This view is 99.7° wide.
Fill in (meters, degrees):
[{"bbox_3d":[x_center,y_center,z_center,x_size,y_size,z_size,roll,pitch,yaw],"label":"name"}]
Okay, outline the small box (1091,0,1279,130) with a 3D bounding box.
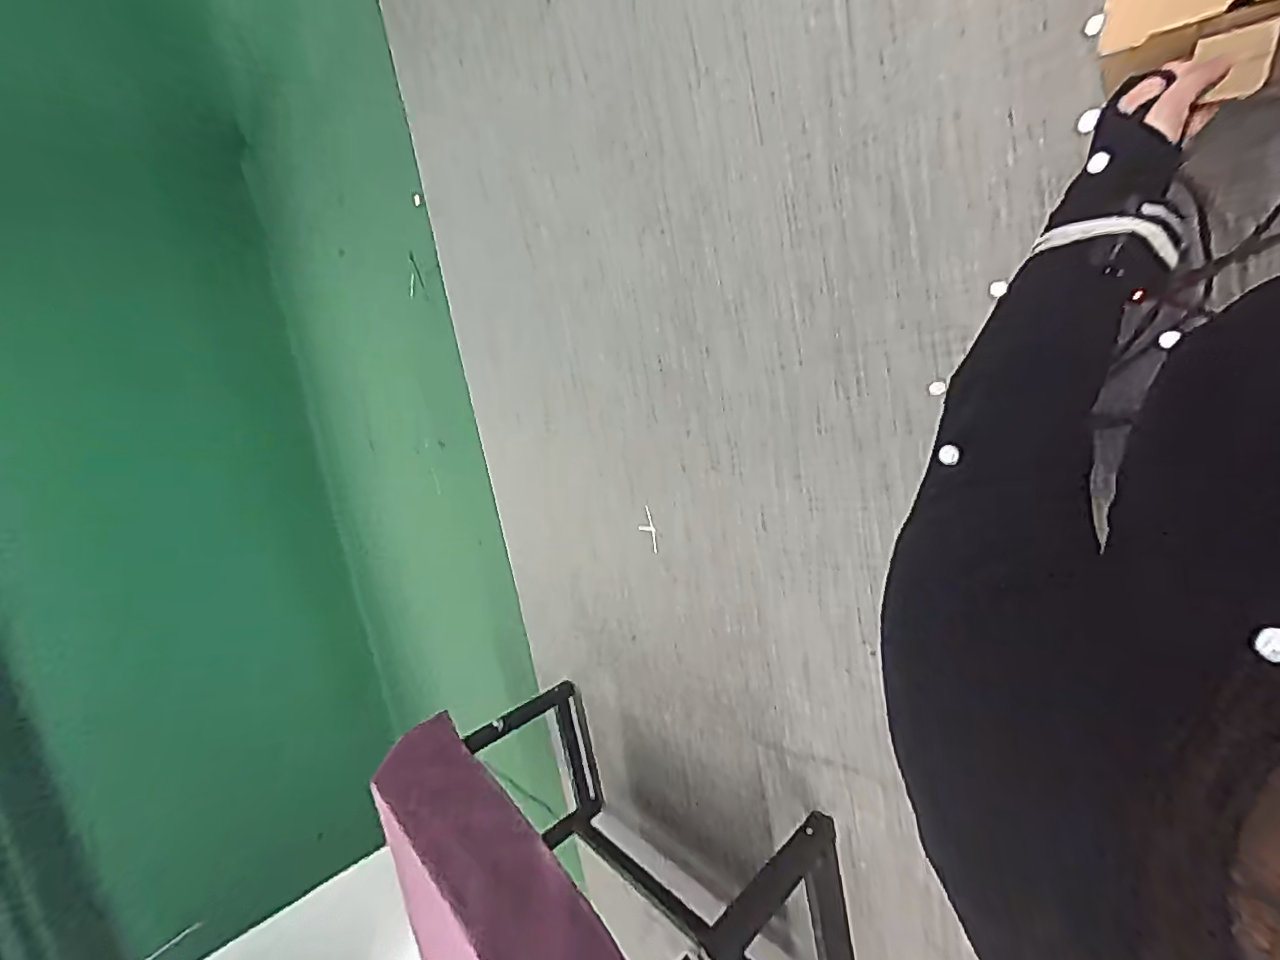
[{"bbox_3d":[0.503,-0.434,0.450,0.168,0.176,0.179,12,104,43],"label":"small box"}]
